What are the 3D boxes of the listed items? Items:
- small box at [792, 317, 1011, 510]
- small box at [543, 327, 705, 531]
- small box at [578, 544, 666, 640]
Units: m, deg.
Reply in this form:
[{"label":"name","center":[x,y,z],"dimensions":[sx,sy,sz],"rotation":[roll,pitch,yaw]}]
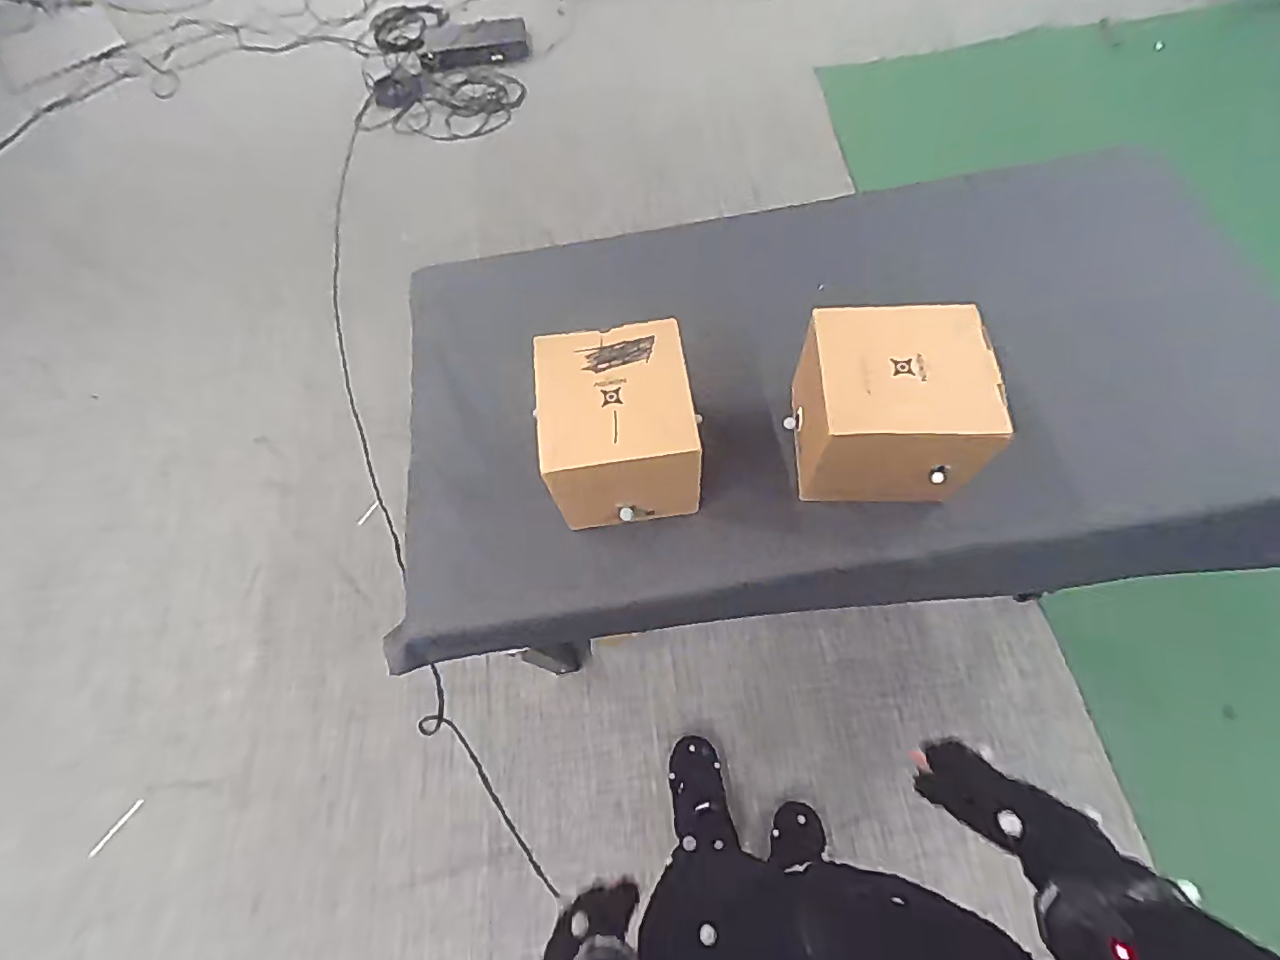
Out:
[{"label":"small box","center":[0.287,-0.071,0.638],"dimensions":[0.179,0.176,0.168],"rotation":[0,64,6]},{"label":"small box","center":[-0.018,-0.055,0.654],"dimensions":[0.168,0.176,0.179],"rotation":[-7,65,2]},{"label":"small box","center":[-0.038,0.280,1.310],"dimensions":[0.168,0.176,0.179],"rotation":[-17,66,-3]}]
